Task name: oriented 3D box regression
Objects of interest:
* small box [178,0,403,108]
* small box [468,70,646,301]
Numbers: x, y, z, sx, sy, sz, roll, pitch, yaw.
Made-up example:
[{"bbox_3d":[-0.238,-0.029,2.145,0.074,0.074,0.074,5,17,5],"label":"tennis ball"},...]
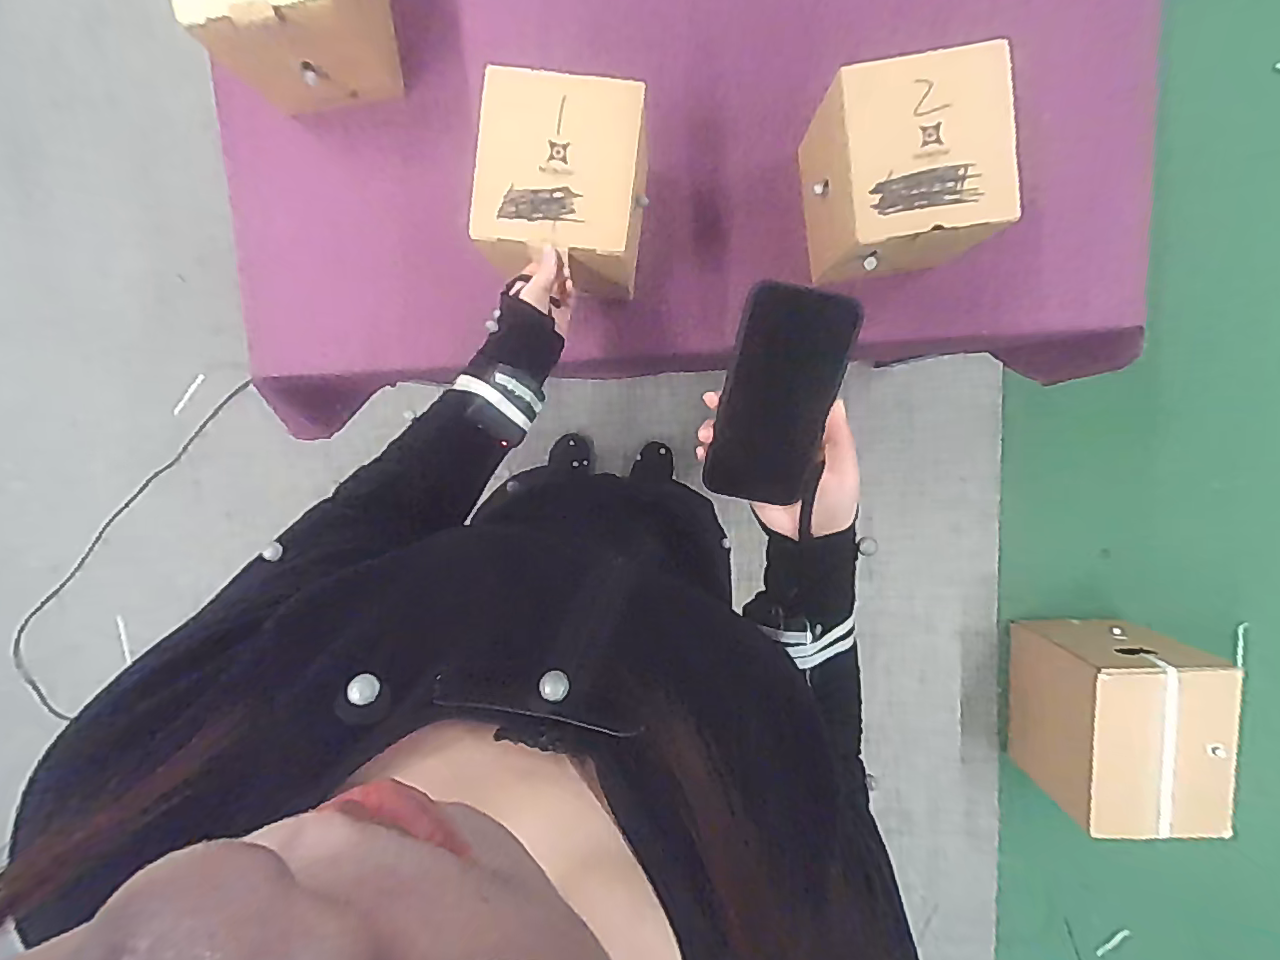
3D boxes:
[{"bbox_3d":[-0.397,-0.564,0.623,0.168,0.176,0.179,-7,97,2],"label":"small box"},{"bbox_3d":[-0.084,-0.325,0.634,0.168,0.176,0.179,8,92,1],"label":"small box"}]
